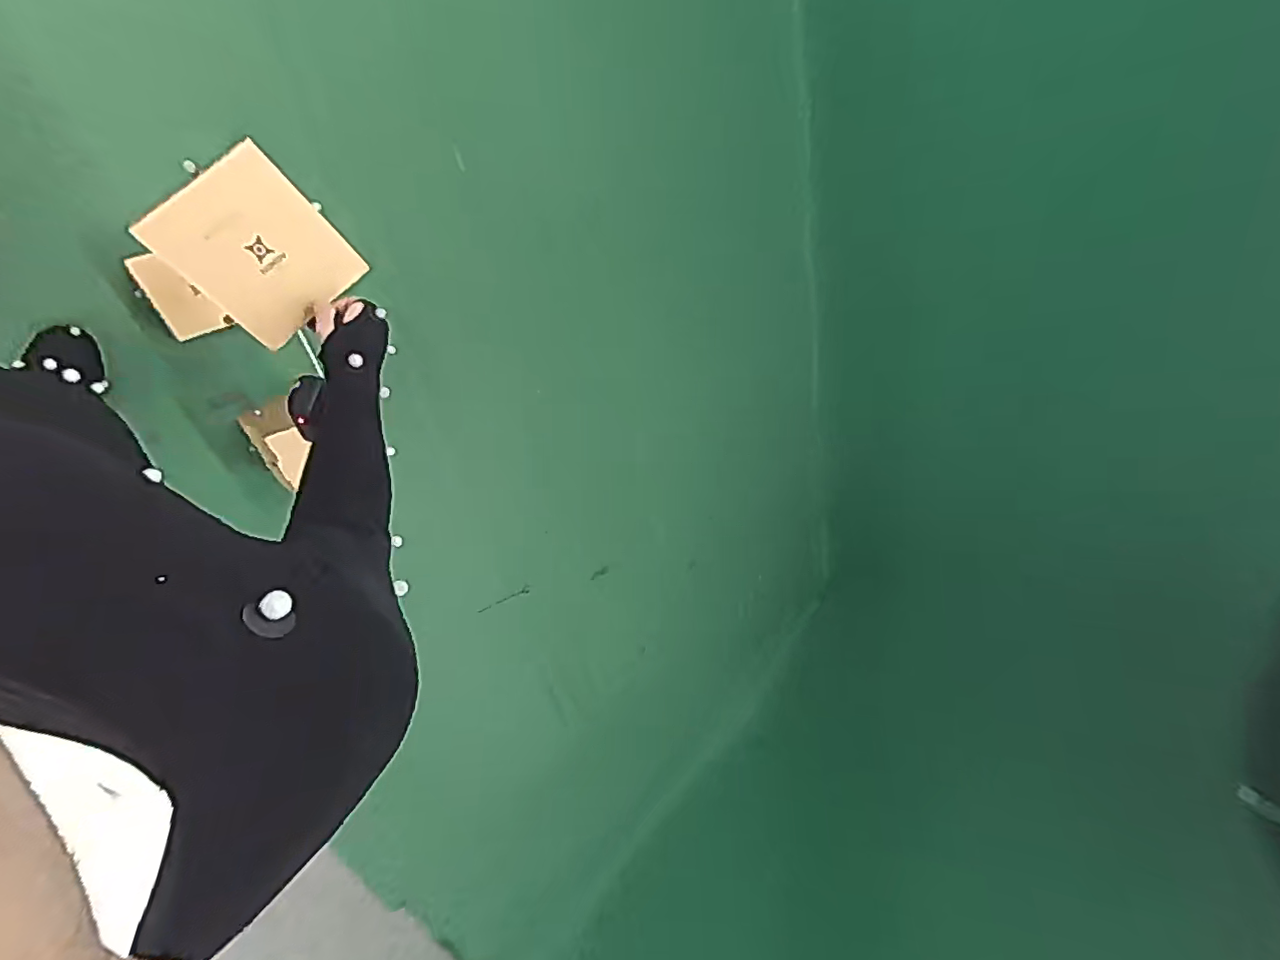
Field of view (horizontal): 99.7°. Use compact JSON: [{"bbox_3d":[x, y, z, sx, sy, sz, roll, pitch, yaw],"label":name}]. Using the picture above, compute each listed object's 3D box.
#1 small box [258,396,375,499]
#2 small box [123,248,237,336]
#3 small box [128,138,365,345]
[{"bbox_3d":[-0.752,-0.082,1.251,0.179,0.176,0.168,-31,125,-32],"label":"small box"},{"bbox_3d":[-0.962,-0.420,1.169,0.179,0.176,0.168,-37,127,-31],"label":"small box"},{"bbox_3d":[-0.503,-0.310,0.702,0.168,0.176,0.179,-48,136,-11],"label":"small box"}]
